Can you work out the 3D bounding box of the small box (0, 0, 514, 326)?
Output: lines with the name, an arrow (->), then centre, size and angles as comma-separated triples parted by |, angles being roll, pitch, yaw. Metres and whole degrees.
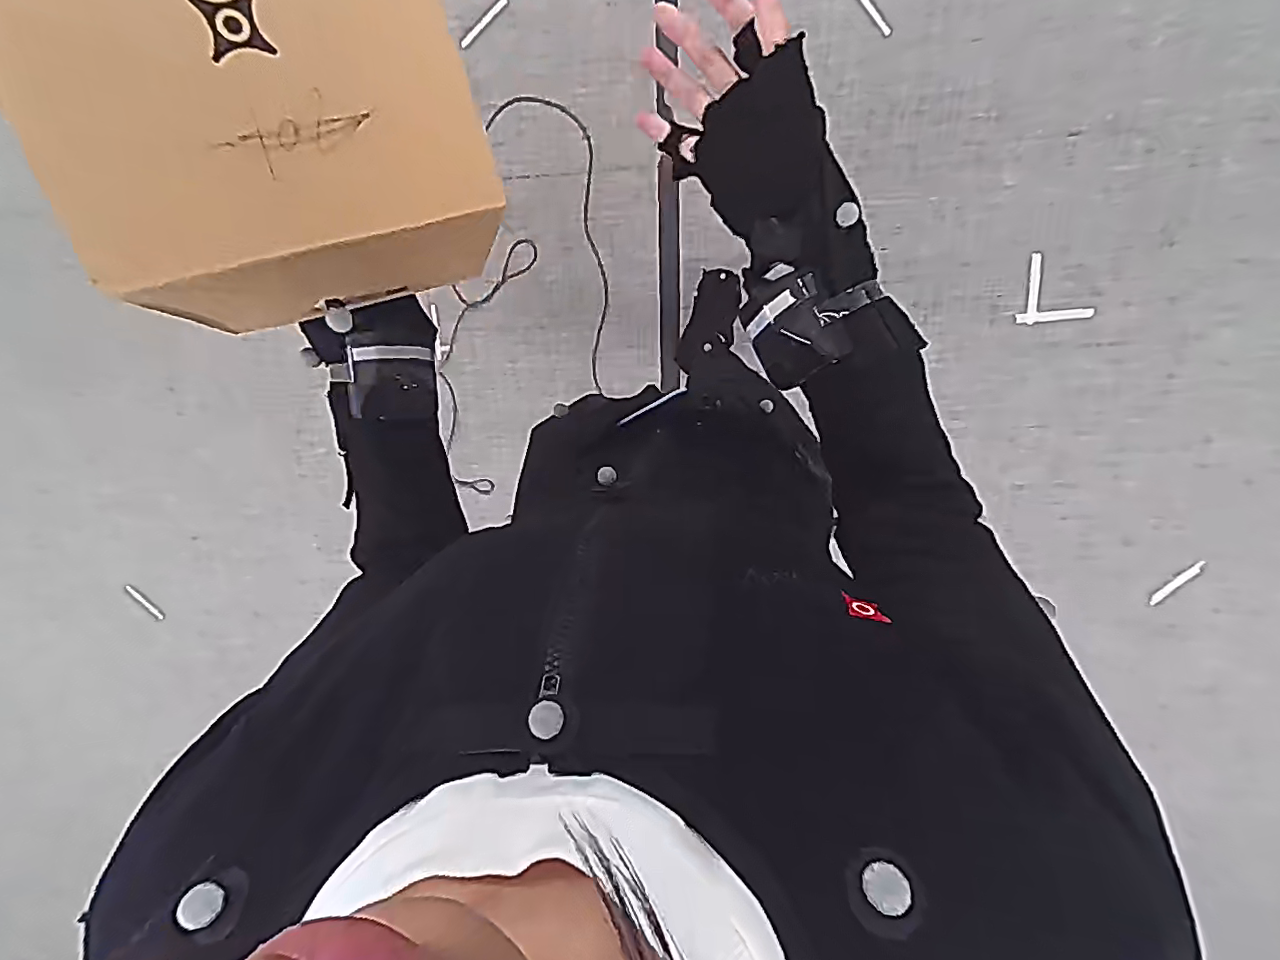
small box -> -0.184, -0.198, 0.295 | 0.168, 0.176, 0.179 | -21, 105, -16
